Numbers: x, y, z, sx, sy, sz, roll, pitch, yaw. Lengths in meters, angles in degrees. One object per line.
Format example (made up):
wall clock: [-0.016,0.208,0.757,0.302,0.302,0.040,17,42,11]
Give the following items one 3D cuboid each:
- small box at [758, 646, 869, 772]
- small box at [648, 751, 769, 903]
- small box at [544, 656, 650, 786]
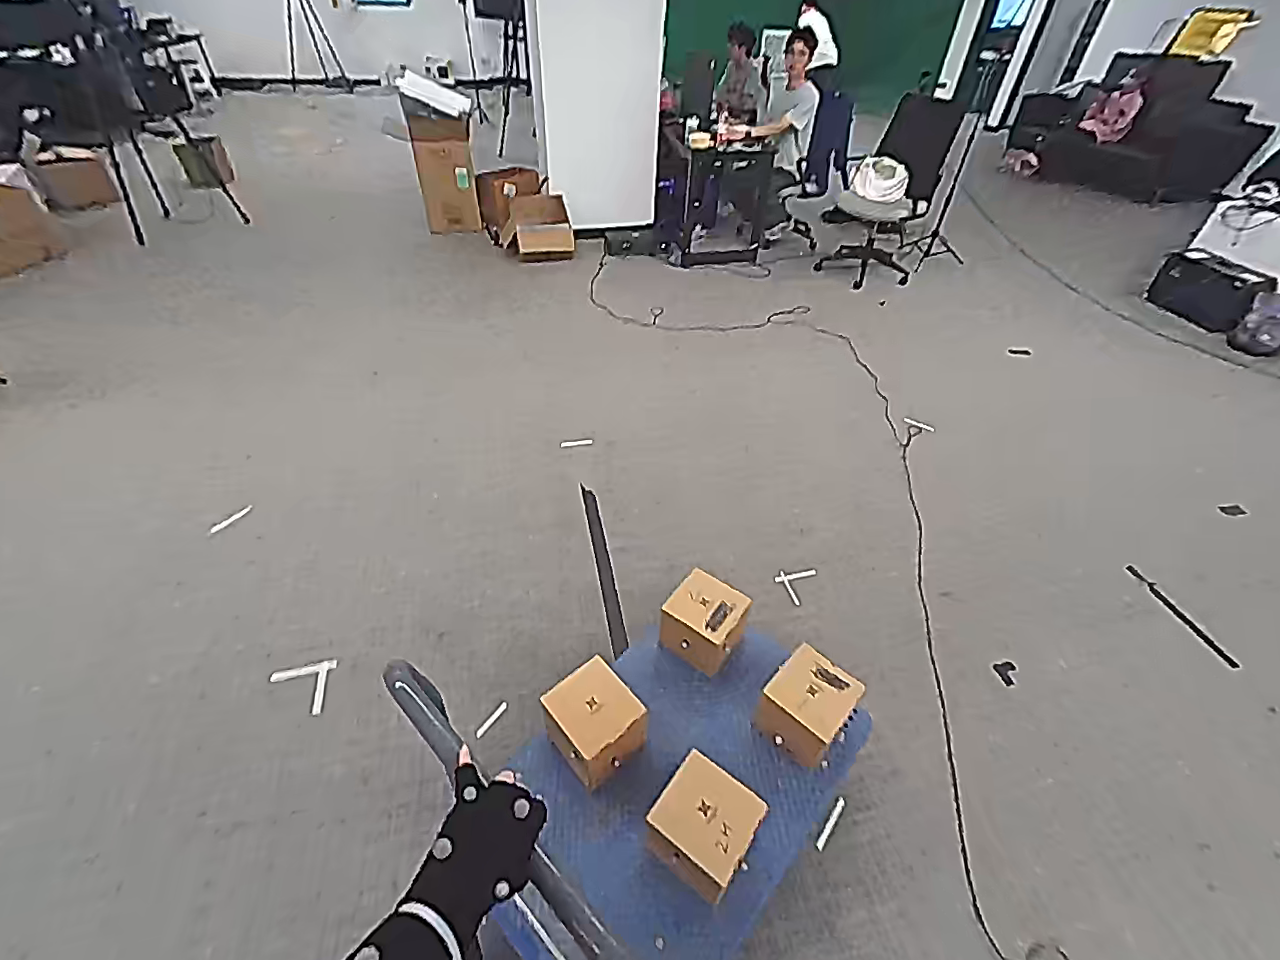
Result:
small box: [0.392,0.531,1.254,0.168,0.176,0.179,34,52,31]
small box: [0.128,0.688,1.070,0.179,0.176,0.168,29,49,27]
small box: [-0.099,0.546,1.223,0.168,0.176,0.179,-29,52,-30]
